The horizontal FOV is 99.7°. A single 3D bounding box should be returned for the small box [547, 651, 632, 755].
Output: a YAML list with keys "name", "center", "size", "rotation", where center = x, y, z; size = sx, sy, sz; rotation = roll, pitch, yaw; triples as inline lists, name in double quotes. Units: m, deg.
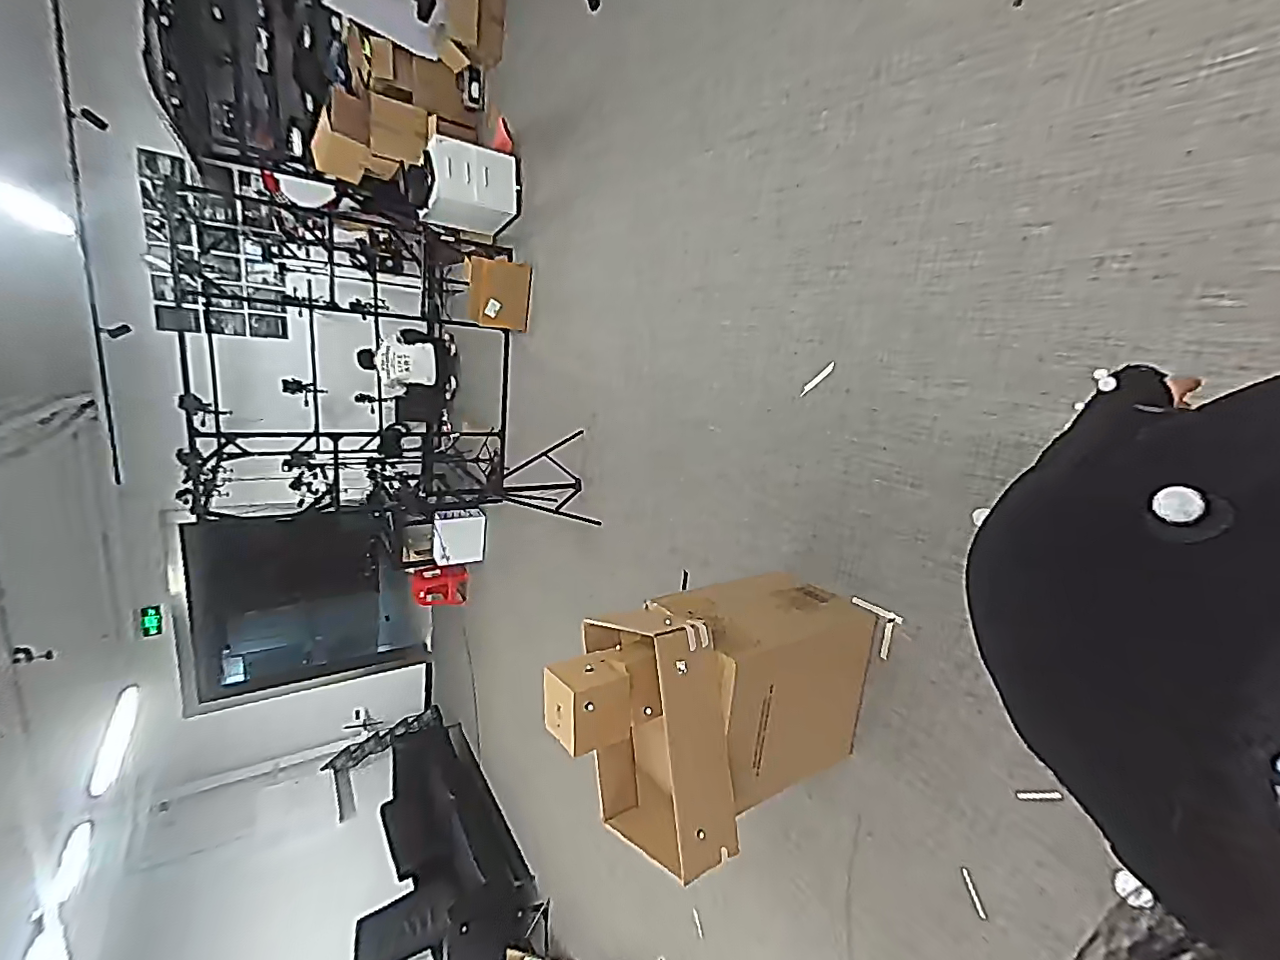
- name: "small box"
  center: [-0.130, 0.572, 1.418]
  size: [0.168, 0.176, 0.179]
  rotation: [12, 105, 54]
